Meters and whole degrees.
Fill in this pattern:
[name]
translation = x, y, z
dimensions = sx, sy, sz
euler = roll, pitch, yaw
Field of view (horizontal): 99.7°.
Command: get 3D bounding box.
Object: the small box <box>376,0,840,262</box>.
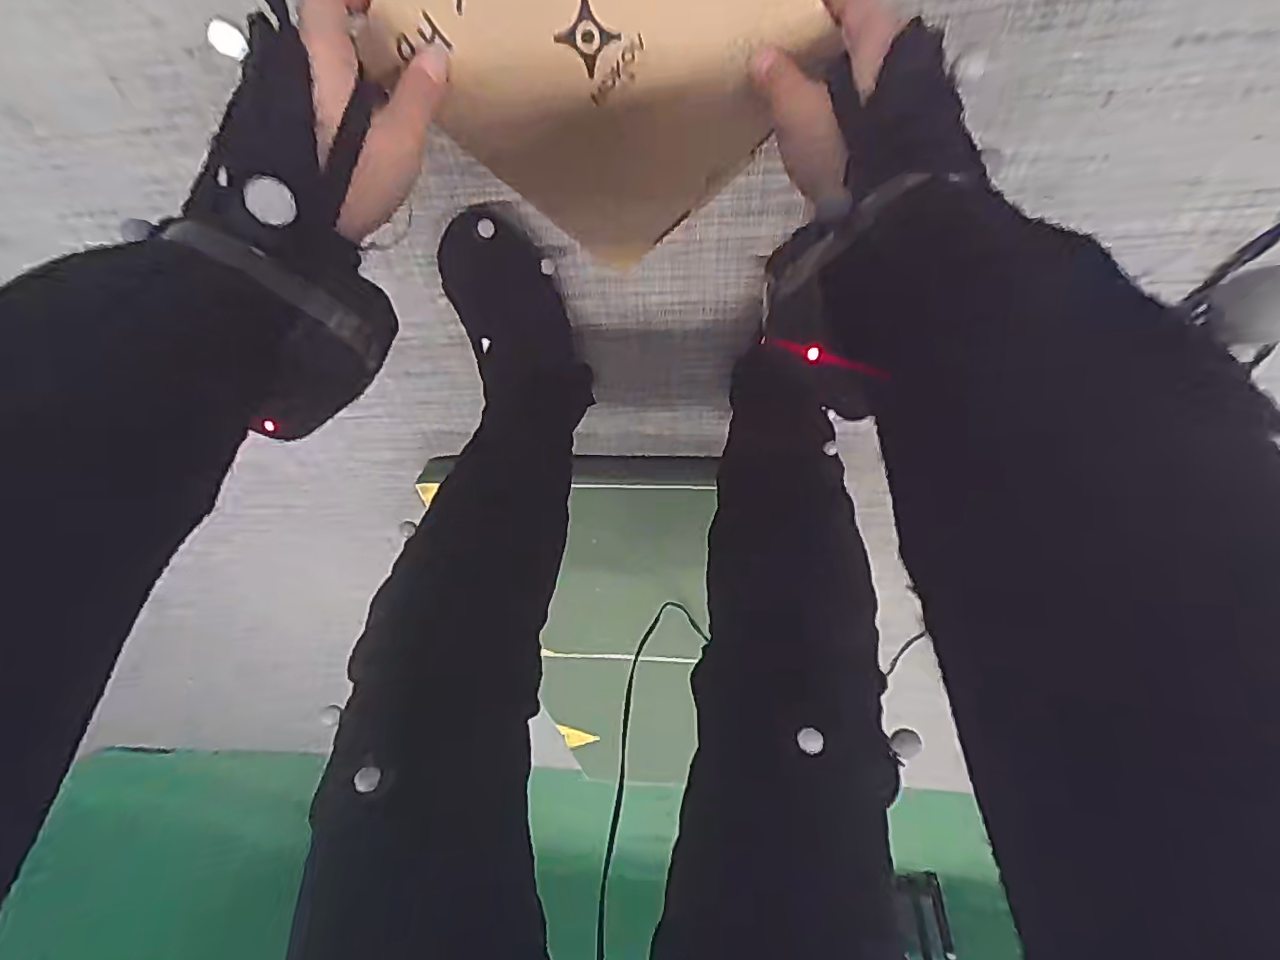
[small box]
translation = -0.014, -0.278, 0.314
dimensions = 0.179, 0.176, 0.168
euler = 29, 136, -34
